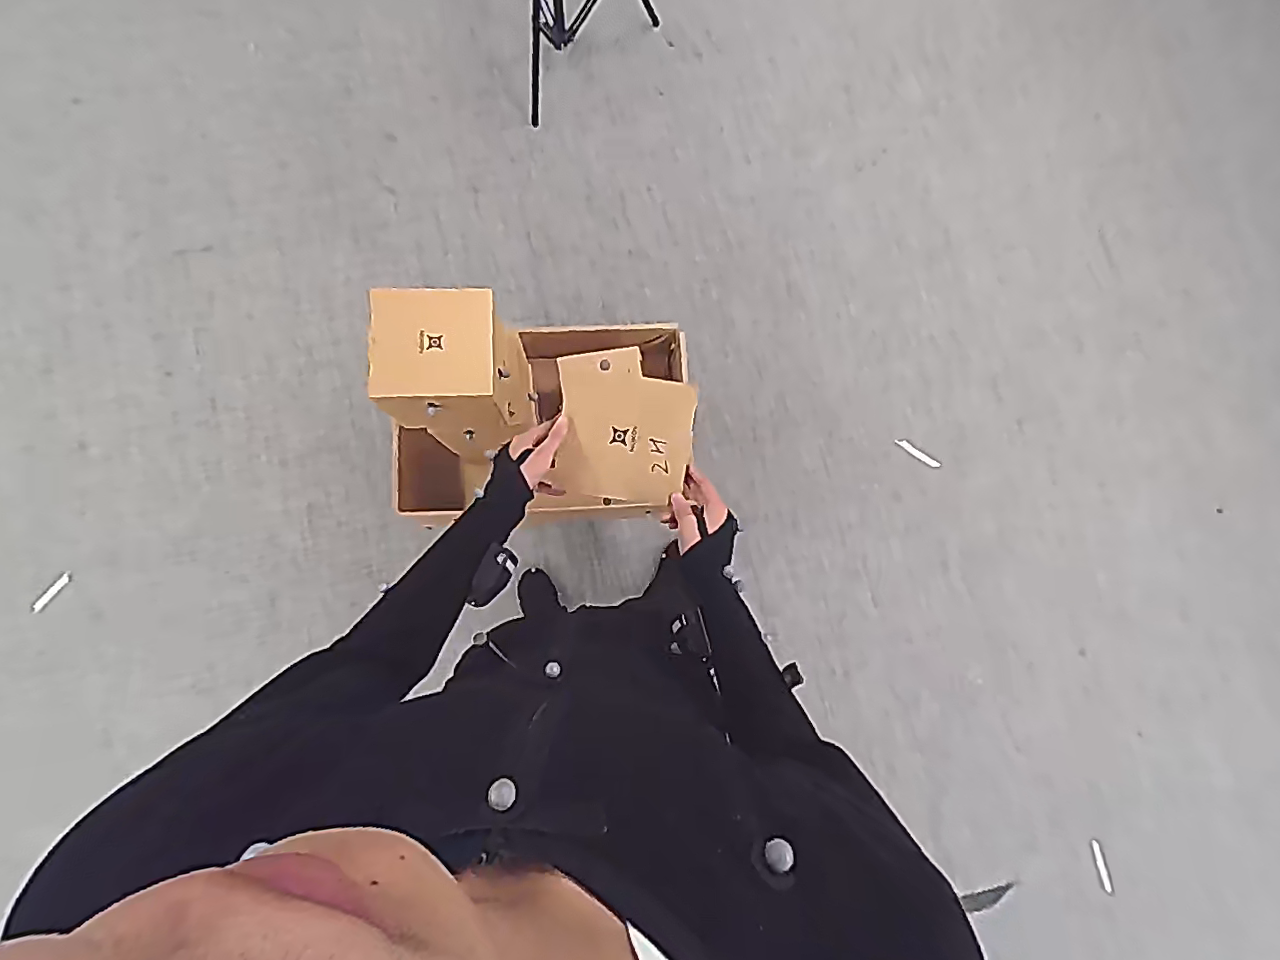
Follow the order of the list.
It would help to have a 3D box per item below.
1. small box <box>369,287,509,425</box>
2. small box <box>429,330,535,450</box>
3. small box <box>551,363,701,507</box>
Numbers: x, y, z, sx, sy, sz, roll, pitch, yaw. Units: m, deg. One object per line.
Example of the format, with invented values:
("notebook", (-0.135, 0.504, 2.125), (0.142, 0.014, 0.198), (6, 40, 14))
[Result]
("small box", (-0.303, -0.186, 0.851), (0.179, 0.176, 0.168), (-2, 81, -5))
("small box", (-0.292, -0.163, 1.014), (0.168, 0.176, 0.179), (-5, 81, -6))
("small box", (-0.022, -0.065, 0.782), (0.179, 0.176, 0.168), (9, 96, -4))
